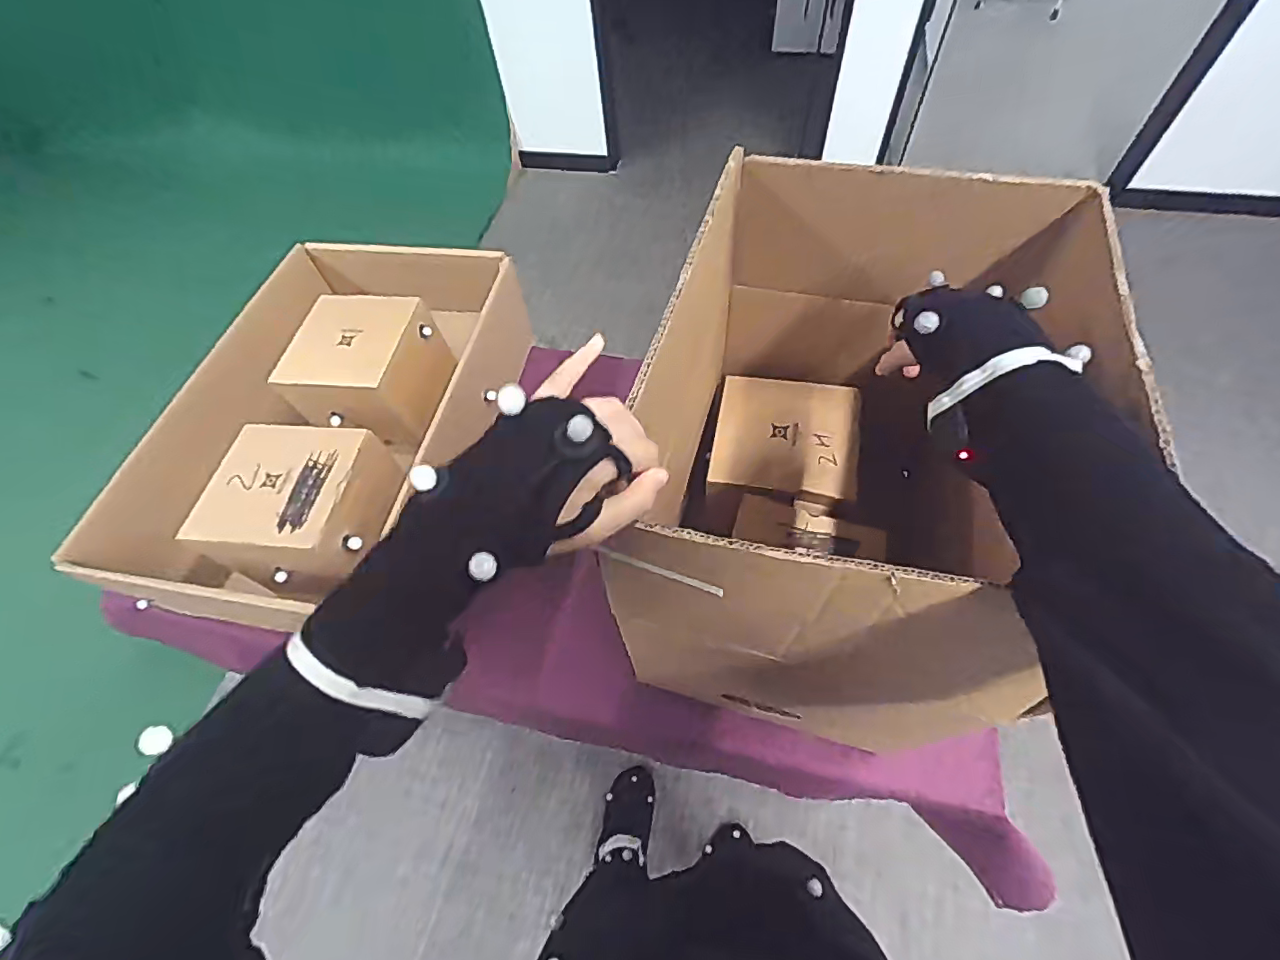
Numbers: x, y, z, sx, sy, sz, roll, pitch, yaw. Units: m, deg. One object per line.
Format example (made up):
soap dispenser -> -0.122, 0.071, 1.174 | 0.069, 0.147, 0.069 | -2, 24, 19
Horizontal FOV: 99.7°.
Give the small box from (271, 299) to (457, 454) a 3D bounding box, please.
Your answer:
small box -> -0.407, -0.155, 0.835 | 0.168, 0.176, 0.179 | 4, 59, 9
